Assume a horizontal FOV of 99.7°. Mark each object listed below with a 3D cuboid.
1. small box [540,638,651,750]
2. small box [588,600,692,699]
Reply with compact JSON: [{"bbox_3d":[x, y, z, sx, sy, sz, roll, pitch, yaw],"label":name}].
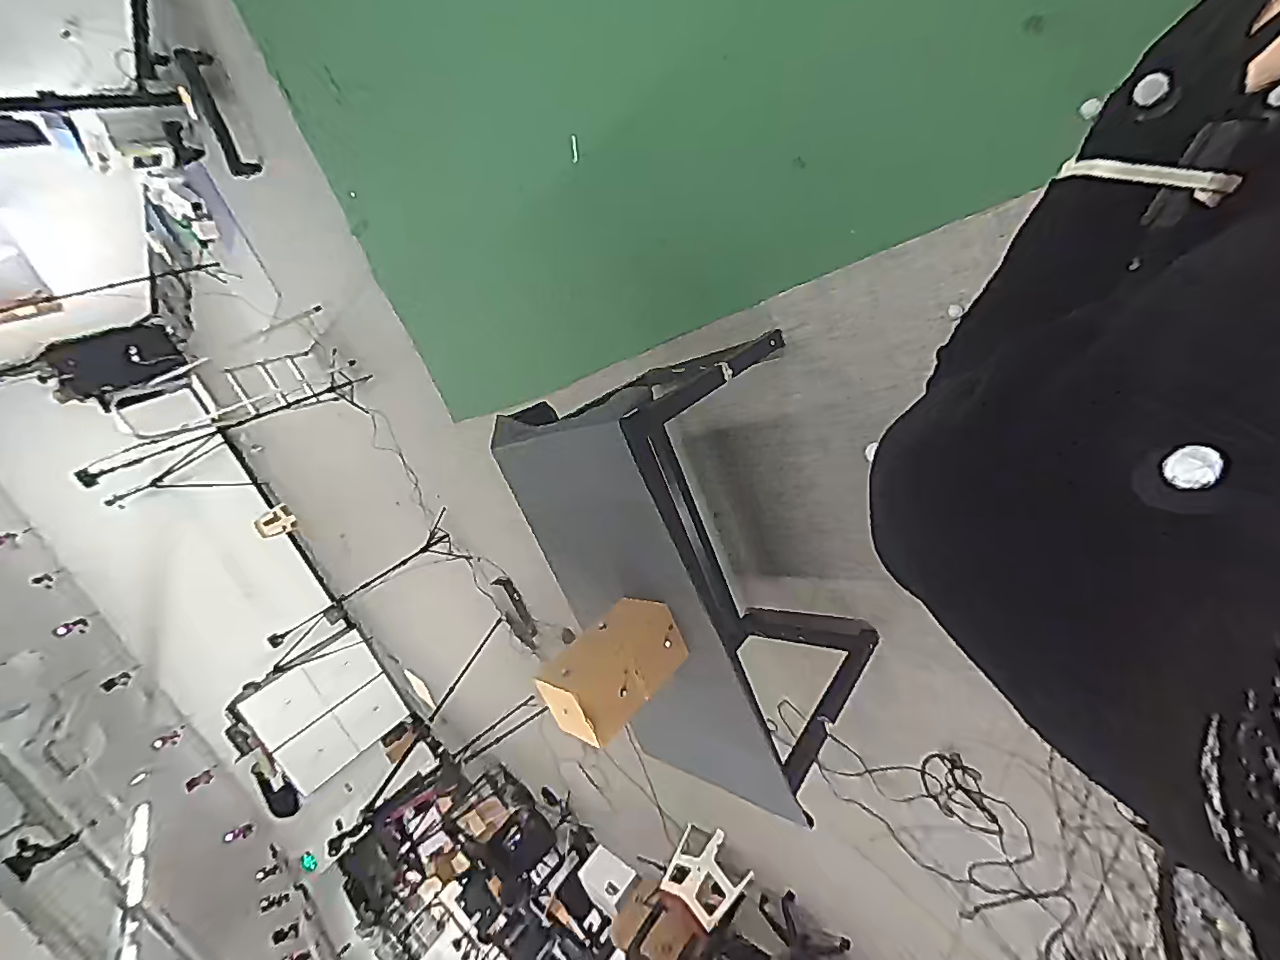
[{"bbox_3d":[-0.106,0.507,1.311,0.179,0.176,0.168,-7,112,48],"label":"small box"},{"bbox_3d":[0.002,0.430,1.406,0.179,0.176,0.168,-6,114,48],"label":"small box"}]
